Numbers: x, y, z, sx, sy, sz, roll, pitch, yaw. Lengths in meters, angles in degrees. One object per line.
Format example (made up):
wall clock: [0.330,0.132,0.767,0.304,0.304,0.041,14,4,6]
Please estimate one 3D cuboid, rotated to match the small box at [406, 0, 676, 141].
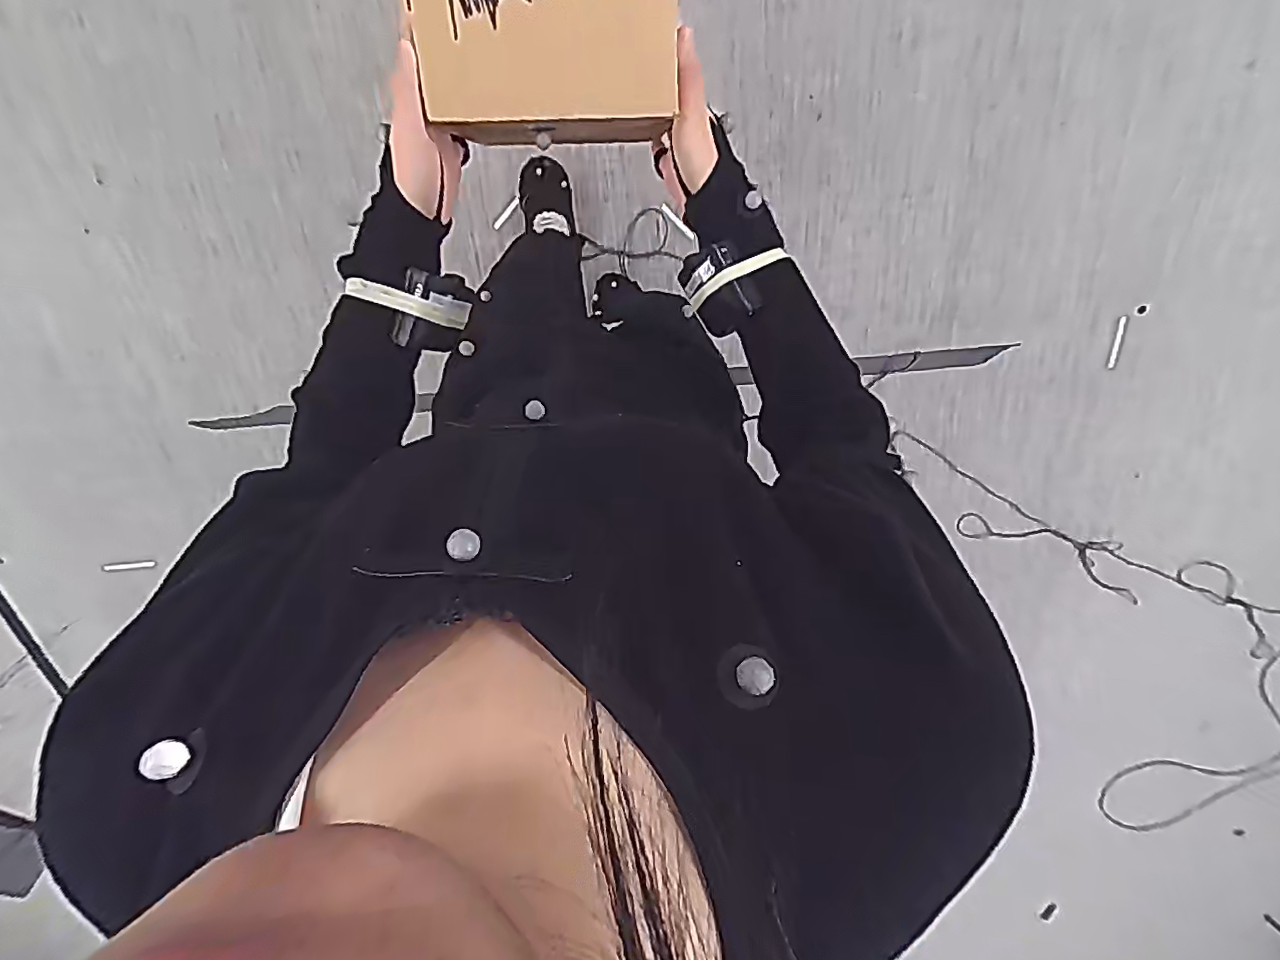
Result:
small box: [-0.066,-0.362,0.410,0.179,0.176,0.168,-2,118,-2]
